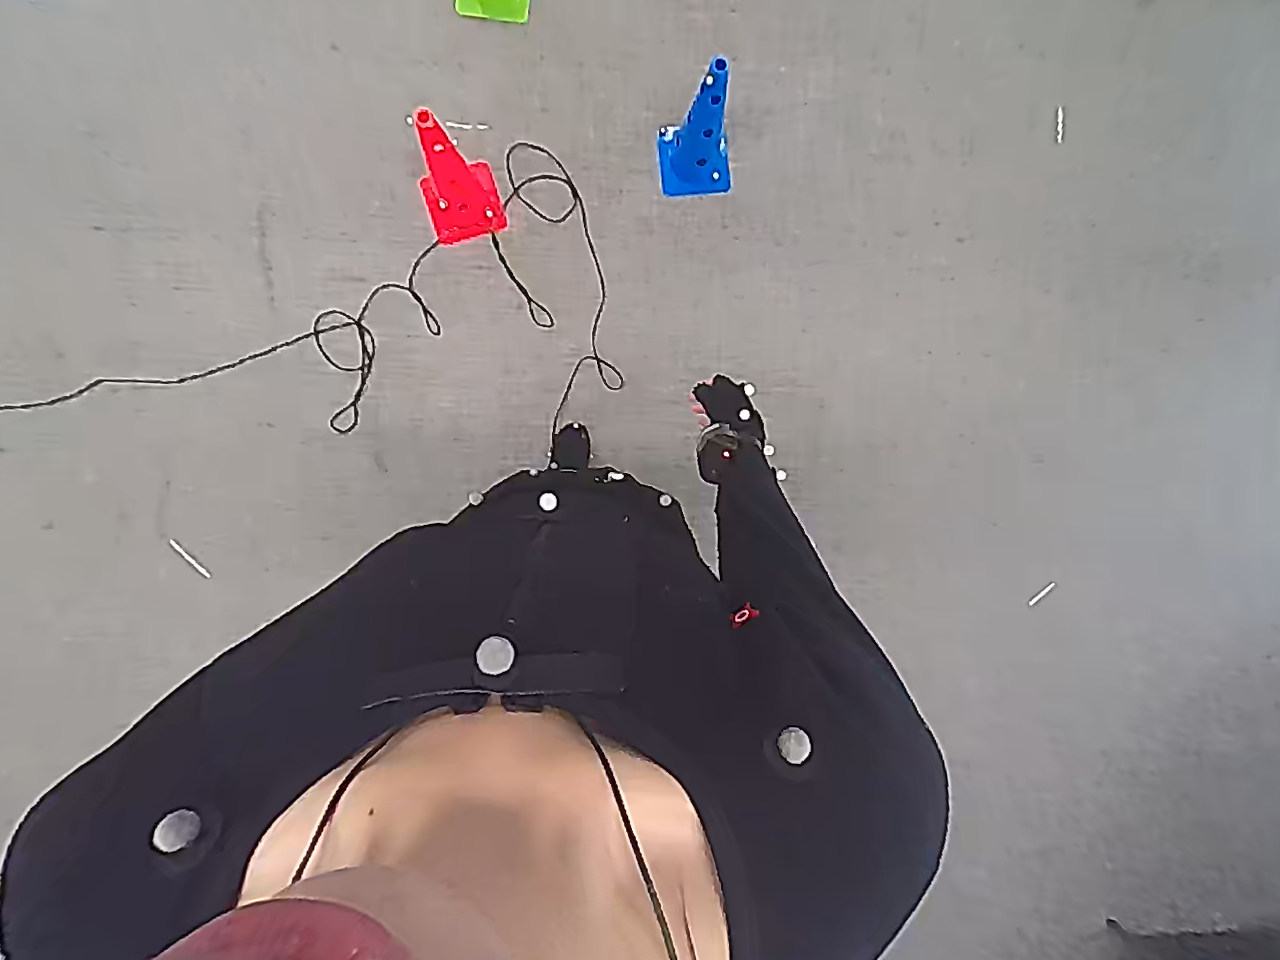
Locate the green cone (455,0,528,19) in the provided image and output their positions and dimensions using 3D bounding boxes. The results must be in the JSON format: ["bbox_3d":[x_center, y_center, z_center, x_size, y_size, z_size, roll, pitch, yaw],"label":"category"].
[{"bbox_3d":[-0.397,-1.386,1.327,0.200,0.368,0.202,3,90,-3],"label":"green cone"}]

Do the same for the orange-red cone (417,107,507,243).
[{"bbox_3d":[-0.469,-0.768,1.318,0.198,0.360,0.199,-18,89,-5],"label":"orange-red cone"}]
